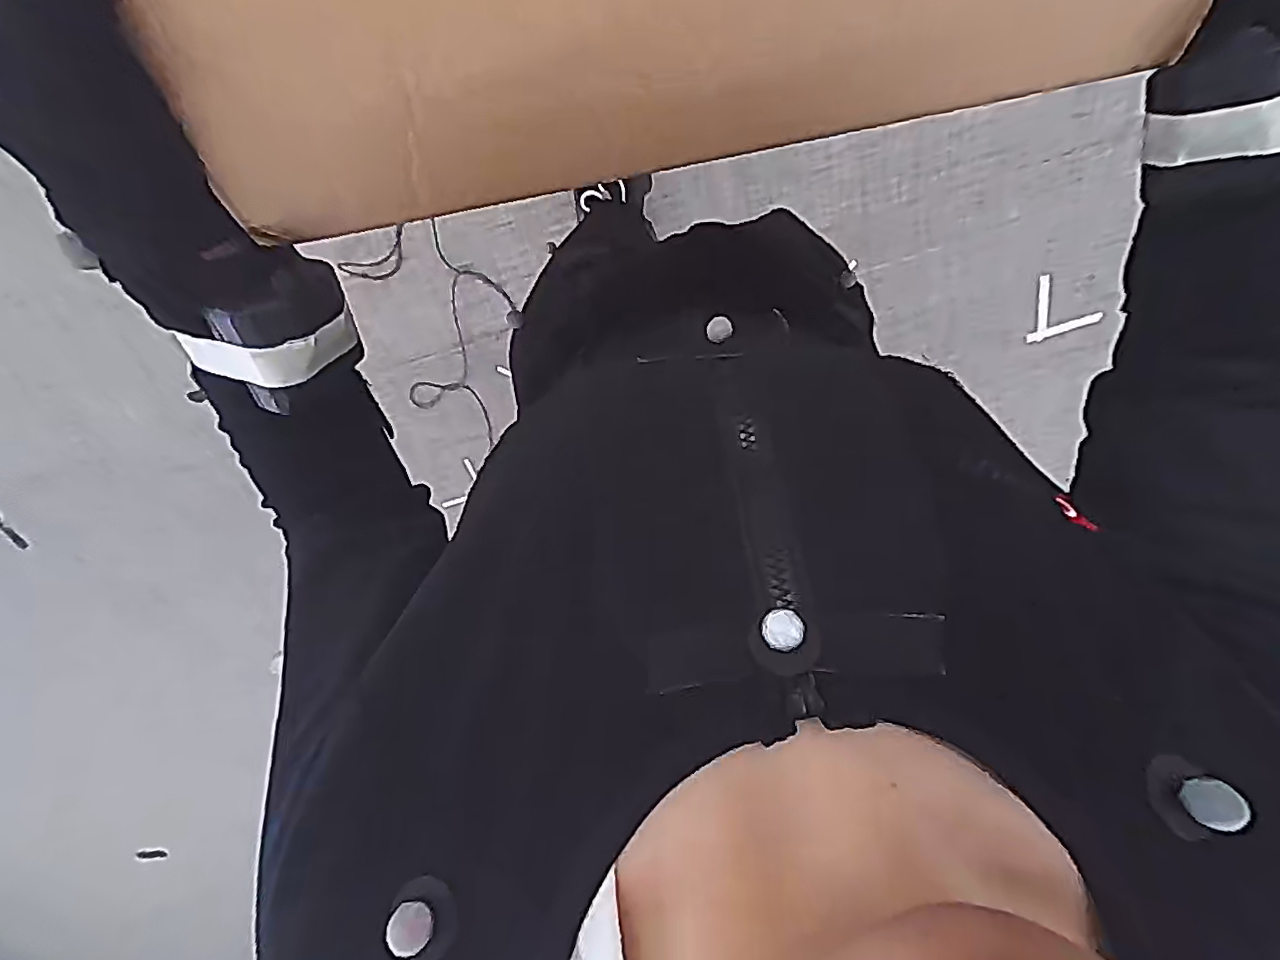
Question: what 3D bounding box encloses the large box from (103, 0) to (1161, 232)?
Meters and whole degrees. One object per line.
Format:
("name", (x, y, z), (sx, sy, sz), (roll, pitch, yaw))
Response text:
("large box", (-0.015, -0.359, 0.212), (0.408, 0.320, 0.320), (-10, 142, 3))
